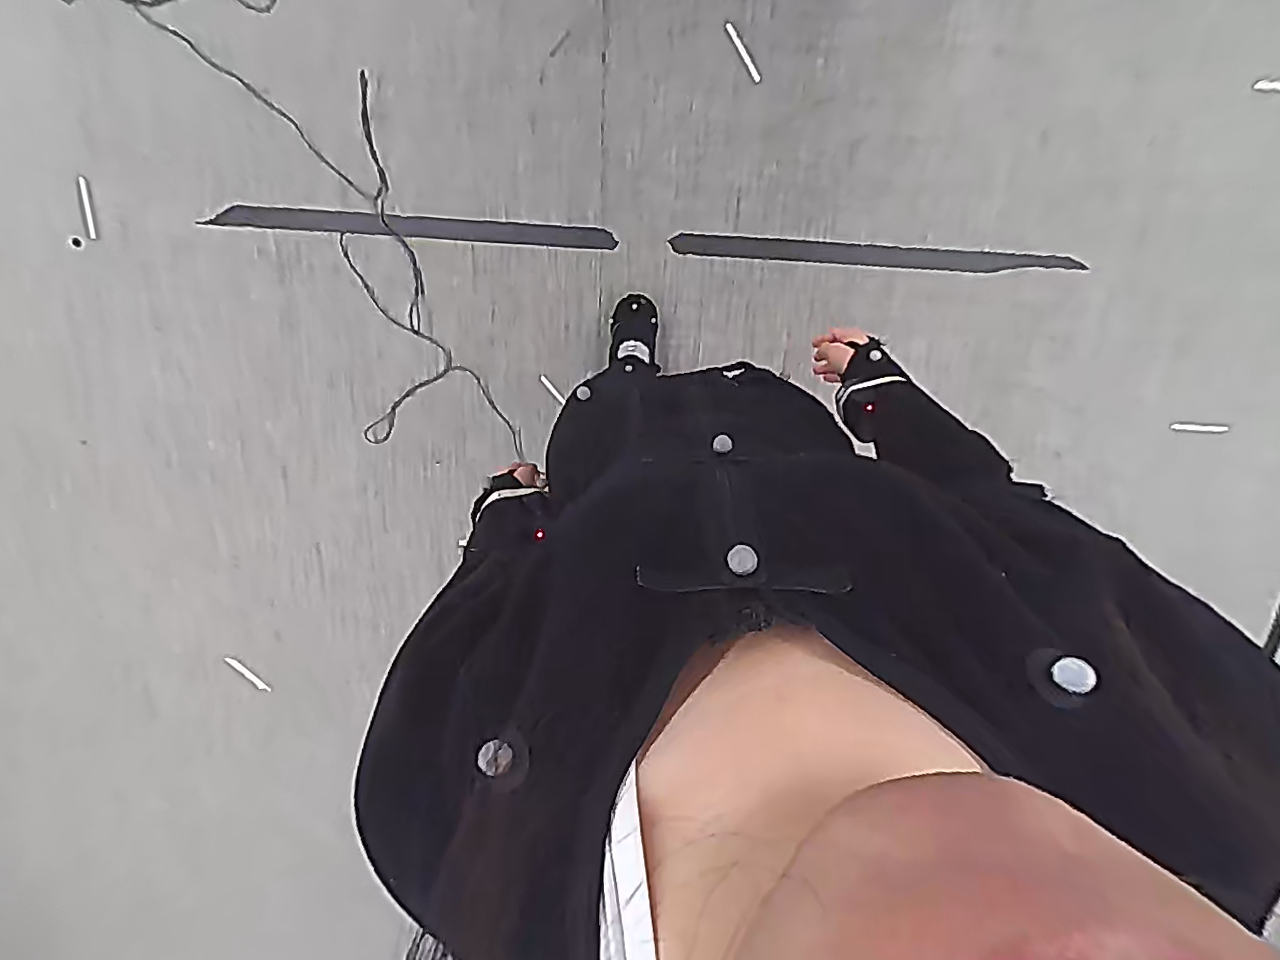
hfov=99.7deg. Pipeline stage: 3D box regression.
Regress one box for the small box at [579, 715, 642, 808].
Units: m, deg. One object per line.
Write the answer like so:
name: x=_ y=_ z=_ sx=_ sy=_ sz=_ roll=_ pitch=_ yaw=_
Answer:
small box: x=-0.082 y=0.835 z=1.614 sx=0.168 sy=0.176 sz=0.179 roll=-7 pitch=105 yaw=1
